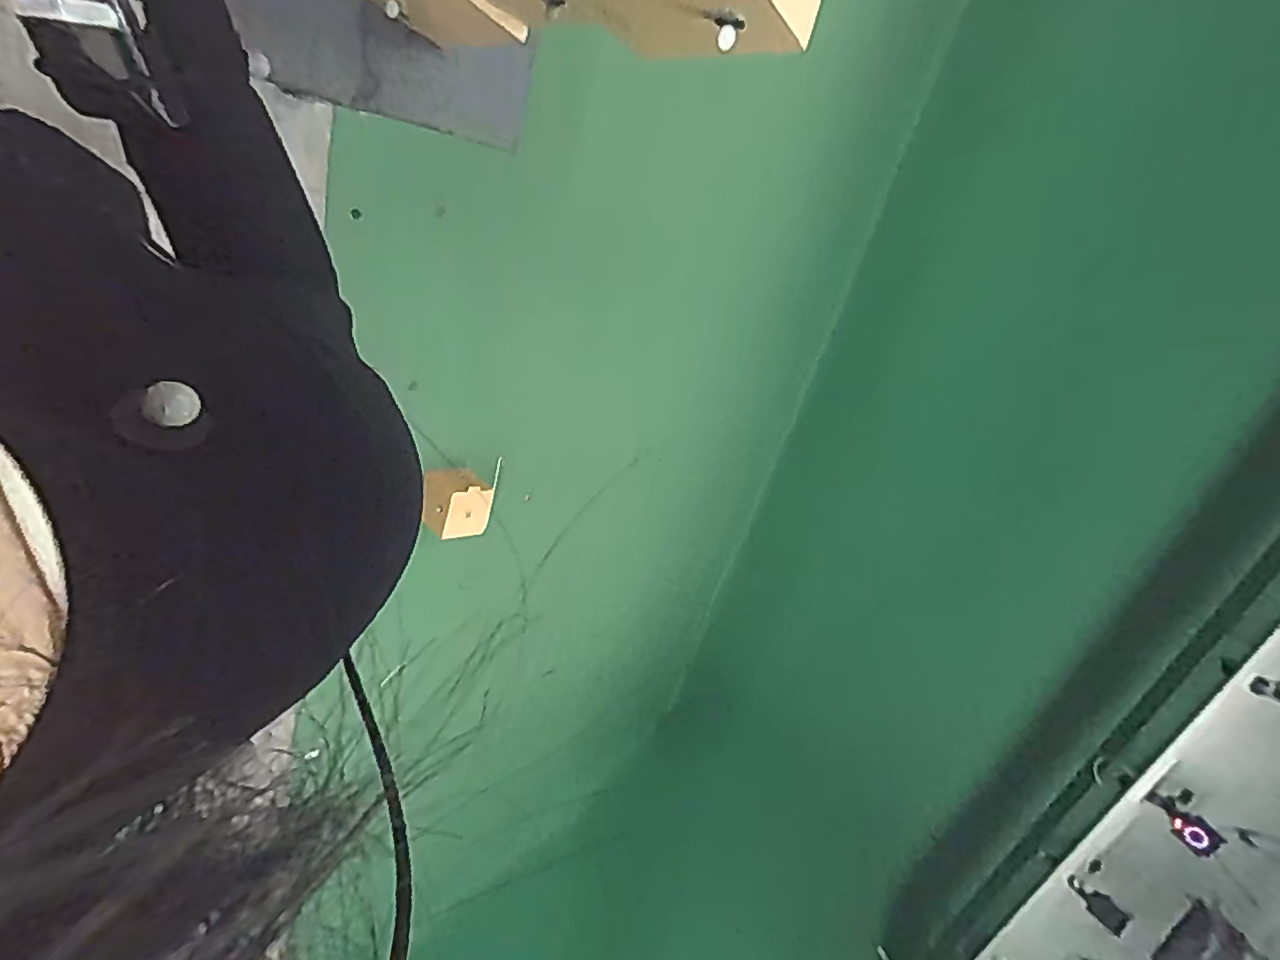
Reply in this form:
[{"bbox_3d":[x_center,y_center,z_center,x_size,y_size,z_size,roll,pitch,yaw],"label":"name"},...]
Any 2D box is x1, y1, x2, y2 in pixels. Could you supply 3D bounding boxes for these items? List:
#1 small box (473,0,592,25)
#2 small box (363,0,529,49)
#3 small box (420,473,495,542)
[{"bbox_3d":[-0.093,-0.493,0.422,0.179,0.176,0.168,-11,121,-47],"label":"small box"},{"bbox_3d":[-0.204,-0.560,0.521,0.168,0.176,0.179,-2,116,-51],"label":"small box"},{"bbox_3d":[-0.630,0.089,1.849,0.168,0.176,0.179,-4,119,-51],"label":"small box"}]
